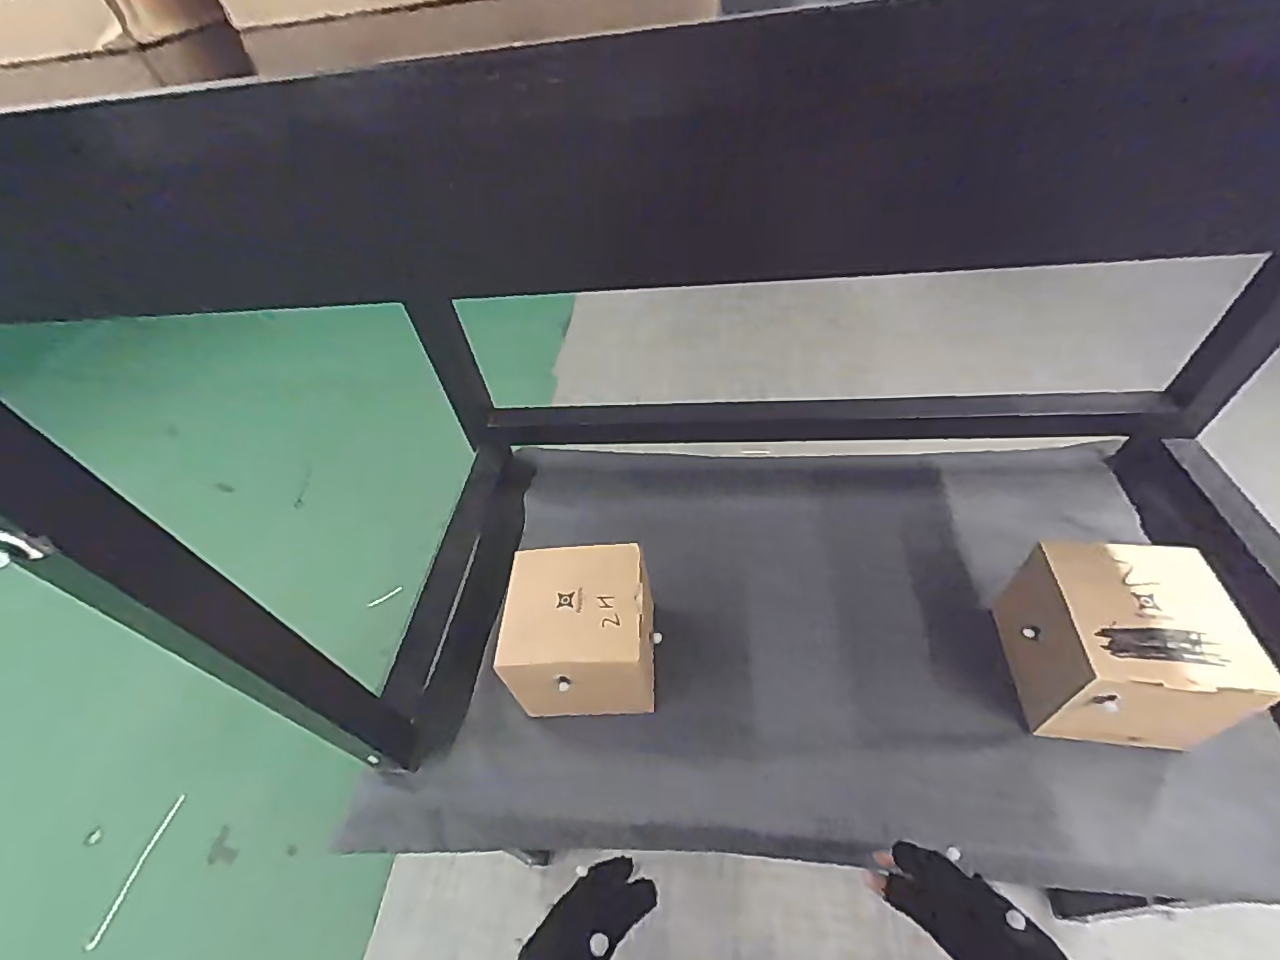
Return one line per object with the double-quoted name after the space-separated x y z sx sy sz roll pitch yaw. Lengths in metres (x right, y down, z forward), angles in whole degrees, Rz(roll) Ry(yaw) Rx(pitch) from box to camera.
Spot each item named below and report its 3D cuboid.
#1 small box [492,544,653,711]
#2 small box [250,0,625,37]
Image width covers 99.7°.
-0.078 0.206 0.739 0.179 0.176 0.168 -3 48 5 "small box"
-0.065 -0.268 0.177 0.168 0.176 0.179 -1 47 7 "small box"
